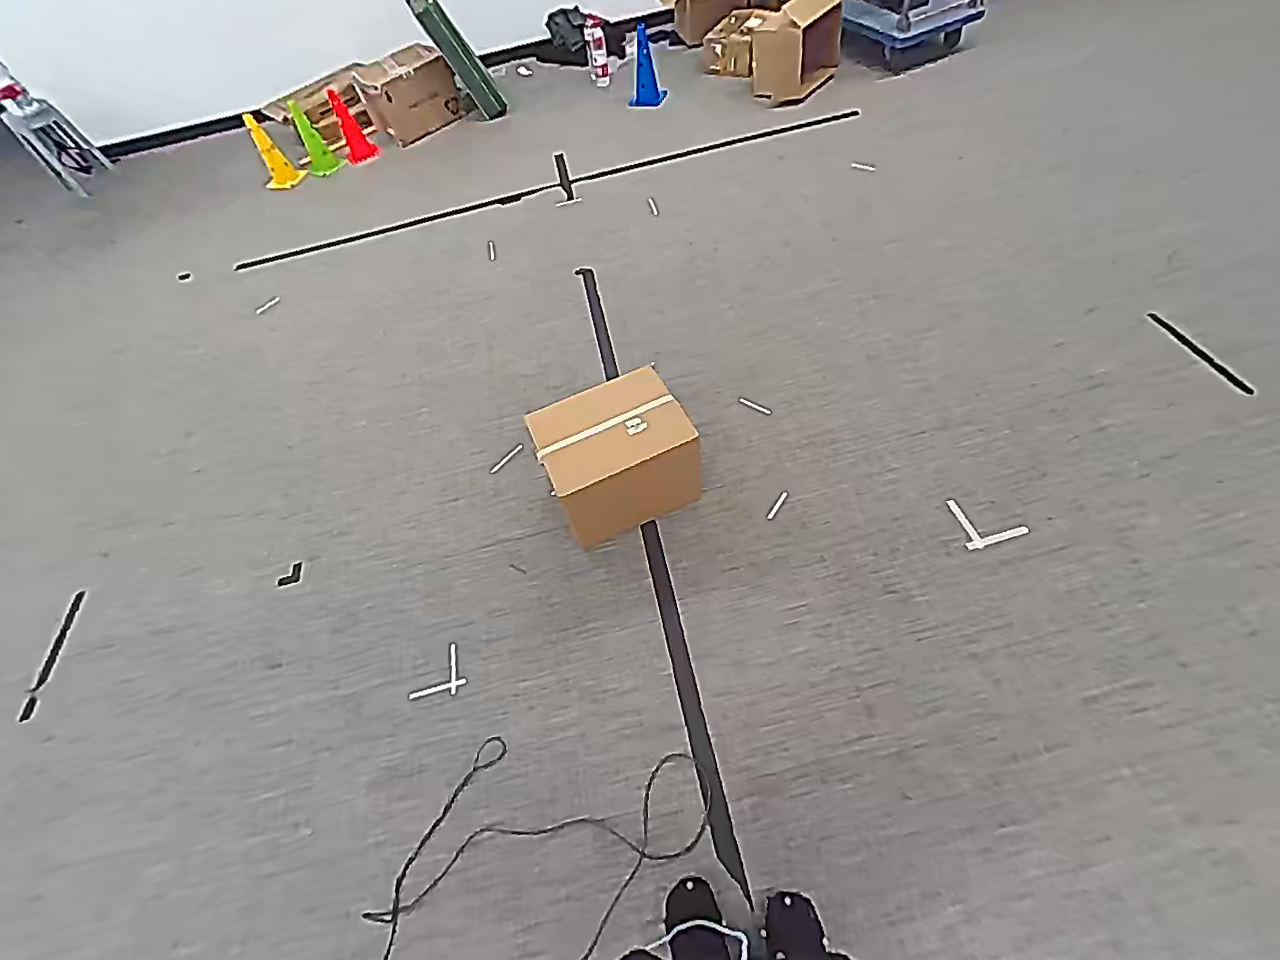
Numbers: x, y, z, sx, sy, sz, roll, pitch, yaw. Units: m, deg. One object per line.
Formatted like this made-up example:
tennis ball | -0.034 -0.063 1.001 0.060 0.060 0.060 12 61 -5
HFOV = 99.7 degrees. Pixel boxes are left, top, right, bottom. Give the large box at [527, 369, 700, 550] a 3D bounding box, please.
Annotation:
large box | -0.067 -0.055 1.603 0.408 0.320 0.320 -23 57 -8
